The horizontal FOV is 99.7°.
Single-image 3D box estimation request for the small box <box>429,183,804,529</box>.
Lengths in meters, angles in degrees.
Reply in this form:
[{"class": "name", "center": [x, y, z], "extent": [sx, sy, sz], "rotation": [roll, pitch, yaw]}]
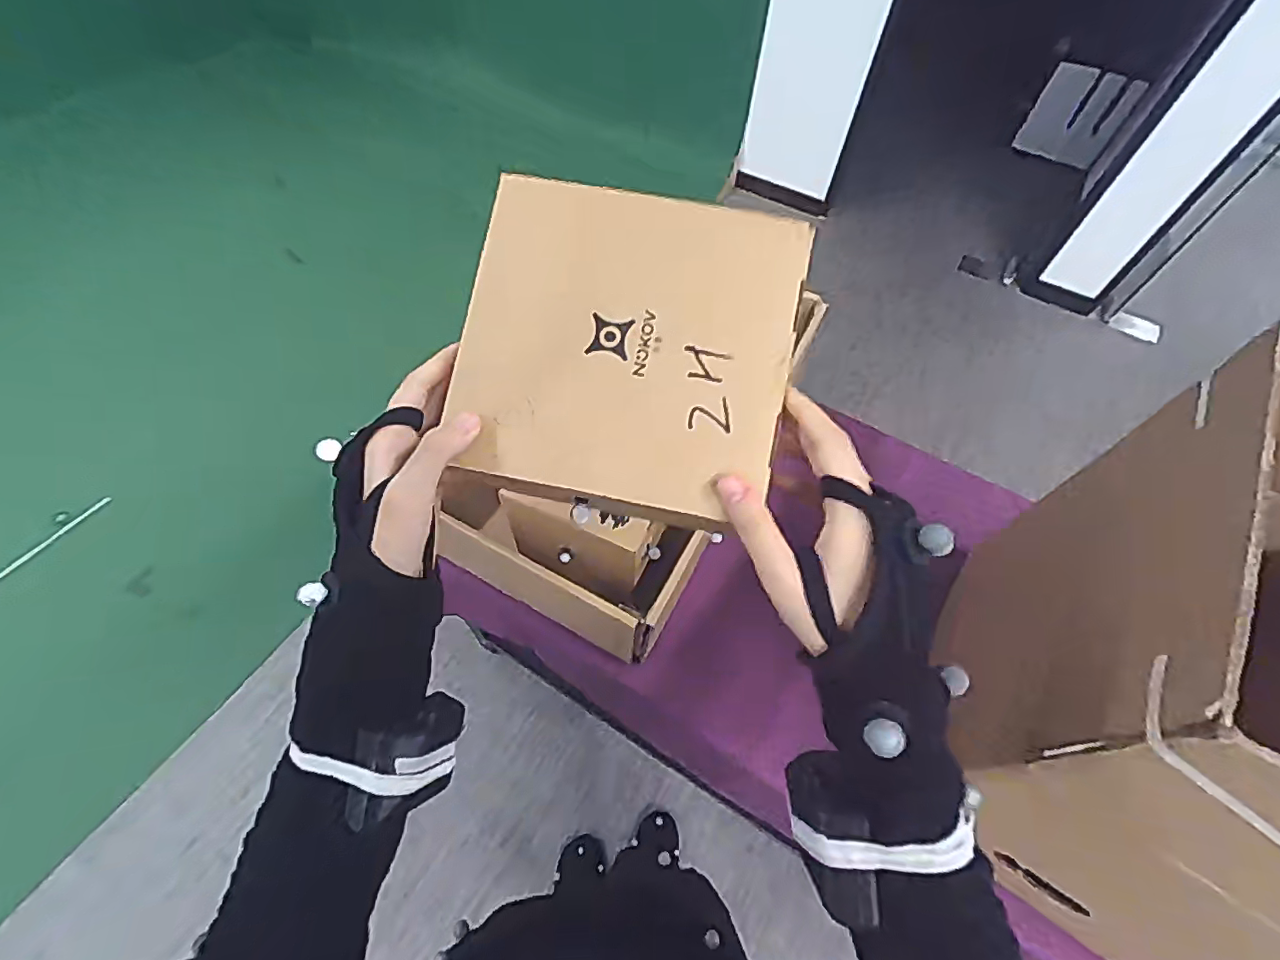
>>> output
[{"class": "small box", "center": [-0.009, -0.062, 0.370], "extent": [0.179, 0.176, 0.168], "rotation": [12, 84, 3]}]
